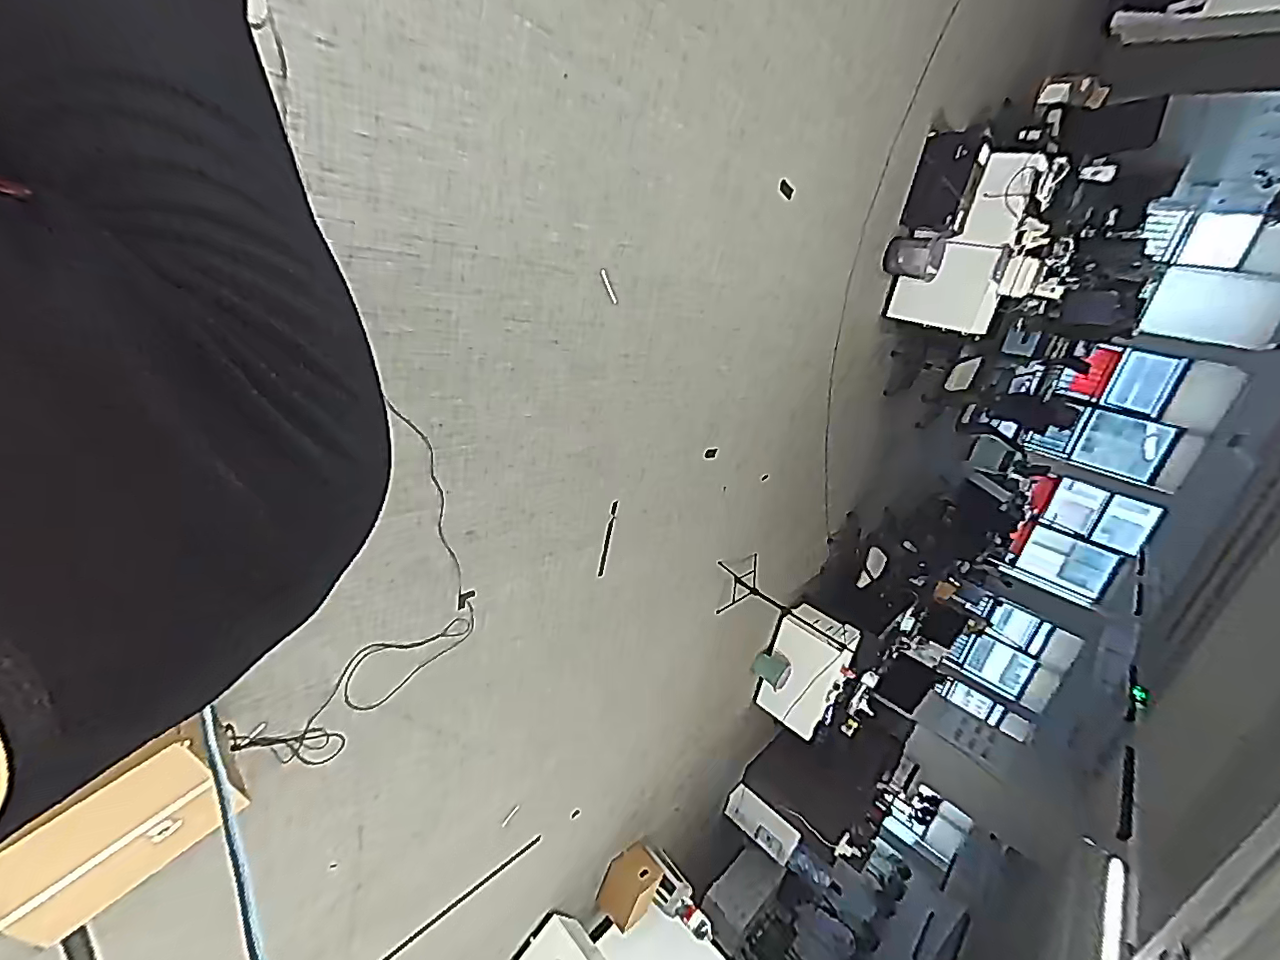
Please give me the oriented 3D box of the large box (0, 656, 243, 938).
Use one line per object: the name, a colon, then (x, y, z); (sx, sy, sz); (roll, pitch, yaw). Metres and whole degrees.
large box: (-1.253, 0.706, 1.251); (0.408, 0.320, 0.320); (-35, 136, -34)
